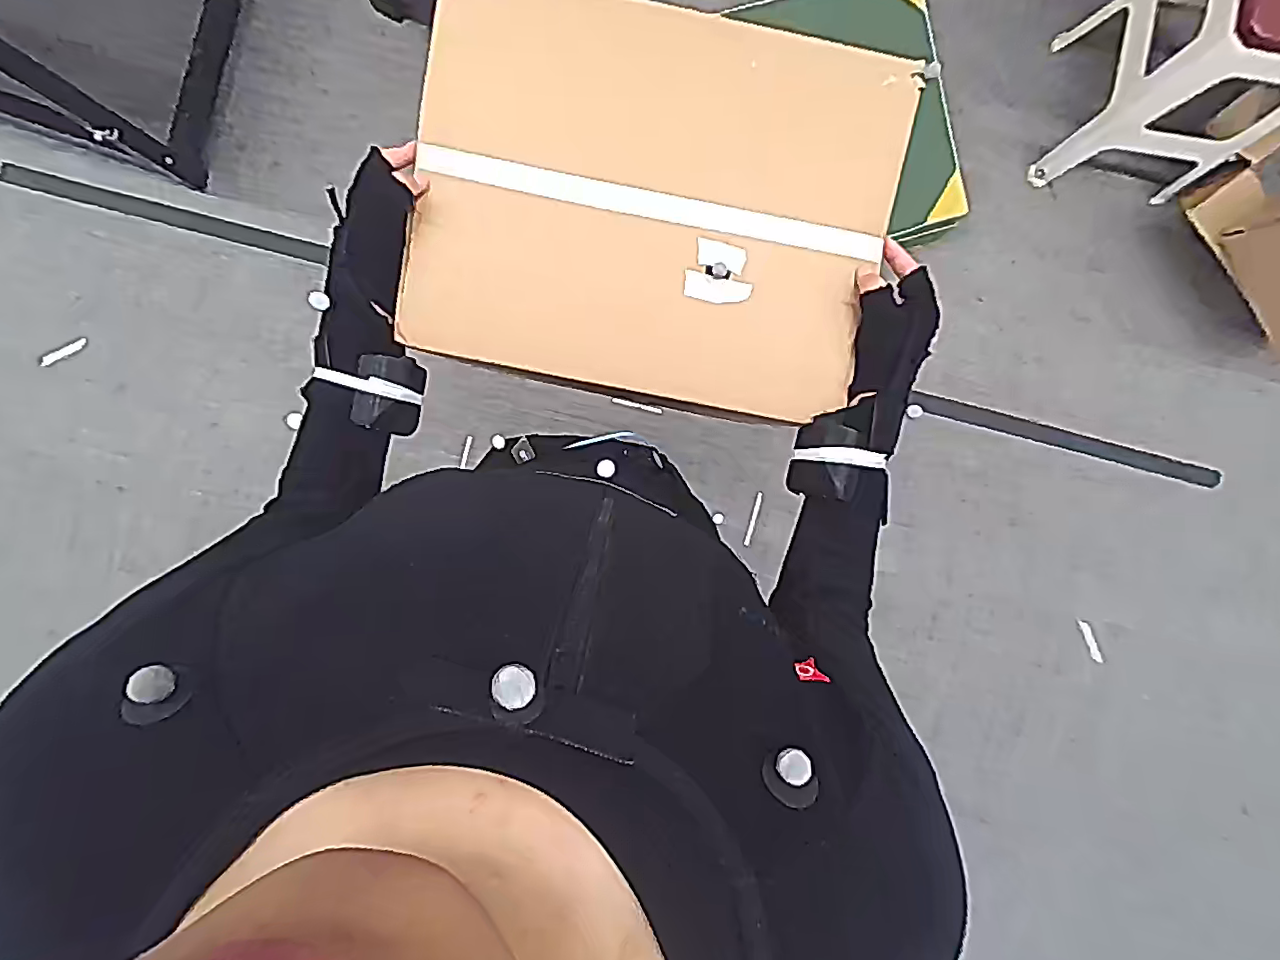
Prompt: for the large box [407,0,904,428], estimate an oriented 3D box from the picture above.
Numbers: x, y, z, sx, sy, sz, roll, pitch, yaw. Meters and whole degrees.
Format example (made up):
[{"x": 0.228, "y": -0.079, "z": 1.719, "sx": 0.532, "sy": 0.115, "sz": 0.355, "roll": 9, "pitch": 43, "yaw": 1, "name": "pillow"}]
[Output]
[{"x": 0.004, "y": -0.247, "z": 0.624, "sx": 0.408, "sy": 0.320, "sz": 0.320, "roll": 11, "pitch": 98, "yaw": -3, "name": "large box"}]
